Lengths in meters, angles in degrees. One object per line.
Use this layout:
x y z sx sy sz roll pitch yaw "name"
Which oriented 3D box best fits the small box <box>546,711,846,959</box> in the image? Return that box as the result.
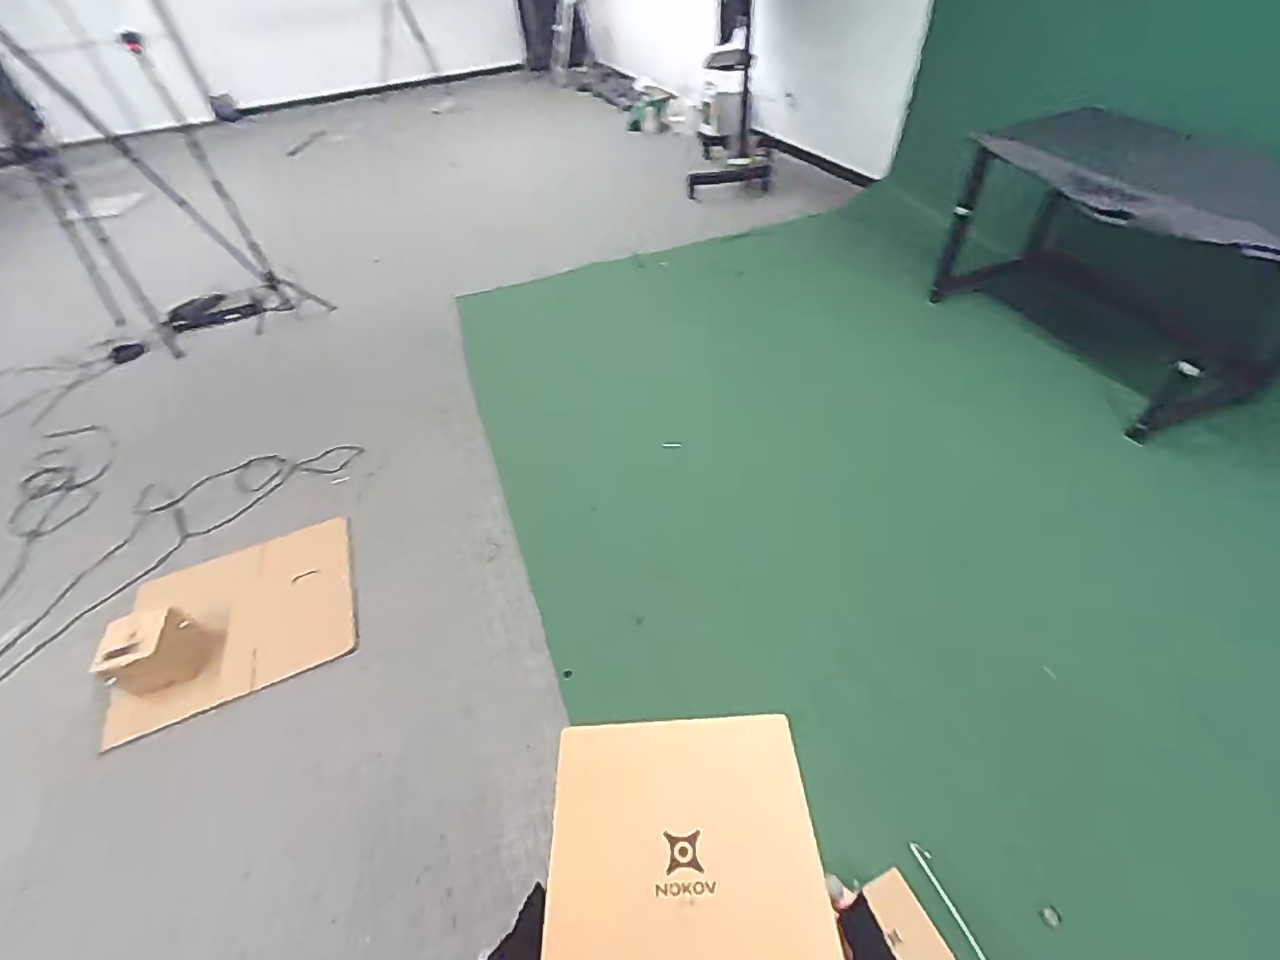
0.032 0.289 0.380 0.168 0.176 0.179 -4 41 1 "small box"
